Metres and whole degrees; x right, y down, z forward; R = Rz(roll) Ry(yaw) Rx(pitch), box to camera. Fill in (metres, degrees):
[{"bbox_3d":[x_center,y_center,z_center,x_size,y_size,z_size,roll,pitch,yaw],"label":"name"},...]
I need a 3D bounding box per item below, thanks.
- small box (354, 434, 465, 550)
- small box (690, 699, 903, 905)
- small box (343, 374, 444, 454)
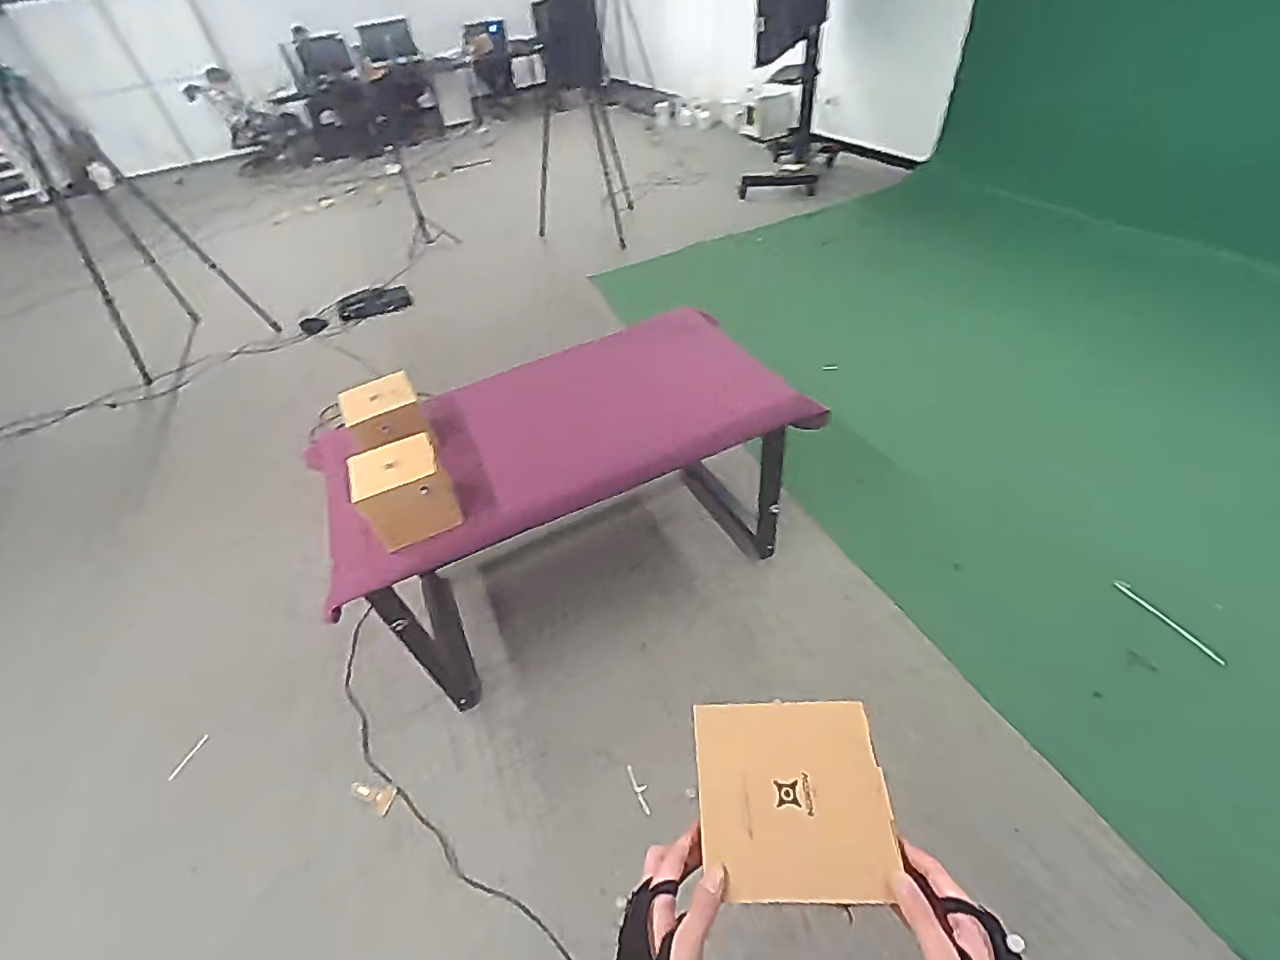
[{"bbox_3d":[-0.520,0.029,1.225,0.179,0.176,0.168,-22,44,-14],"label":"small box"},{"bbox_3d":[0.143,0.338,0.567,0.179,0.176,0.168,-3,52,5],"label":"small box"},{"bbox_3d":[-0.645,-0.146,1.420,0.179,0.176,0.168,-25,47,-16],"label":"small box"}]
